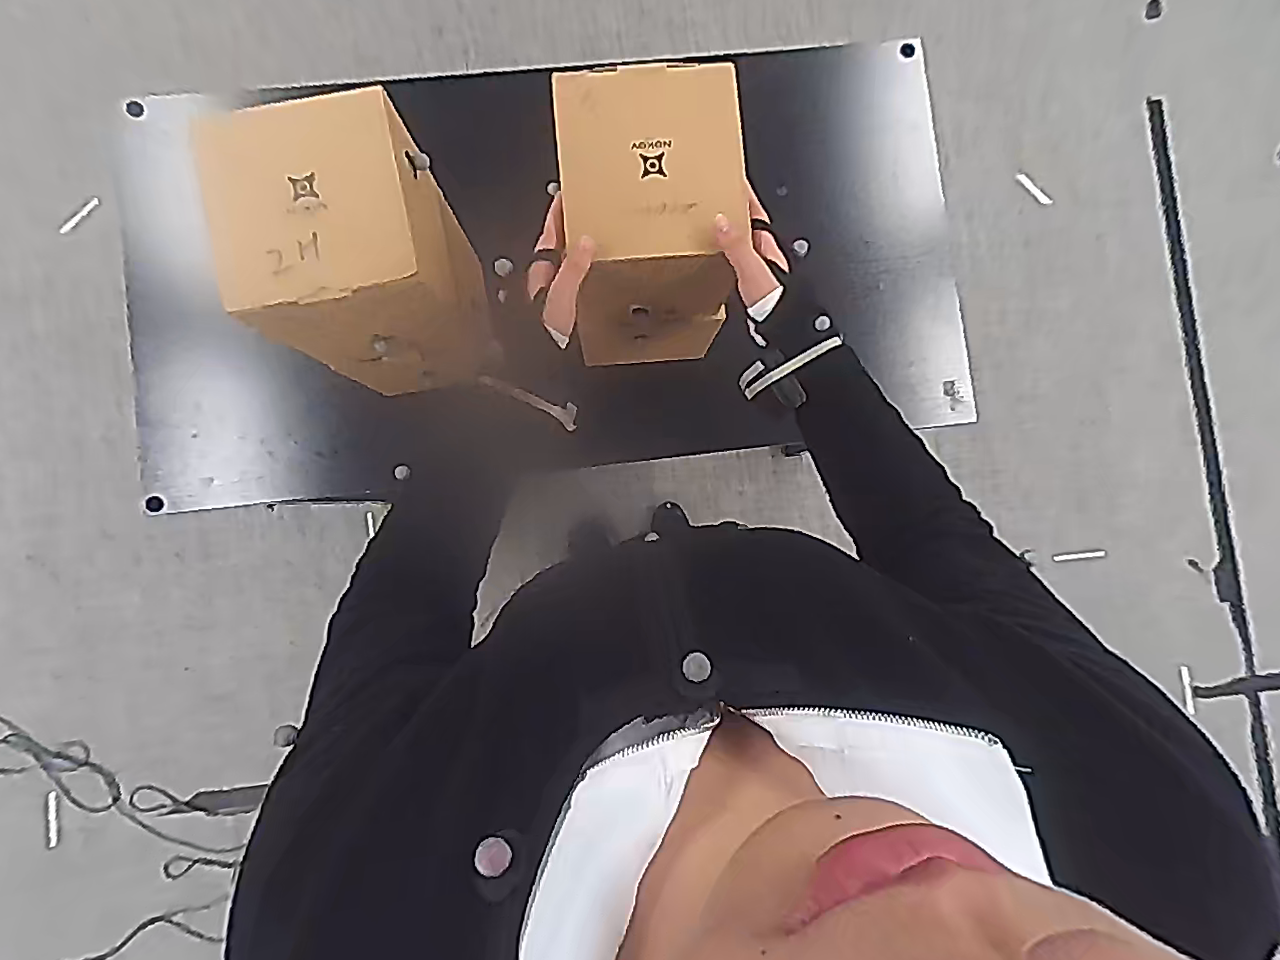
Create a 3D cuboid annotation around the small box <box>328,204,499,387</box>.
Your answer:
[{"bbox_3d":[-0.294,-0.227,0.709,0.168,0.176,0.179,-11,88,-2],"label":"small box"}]

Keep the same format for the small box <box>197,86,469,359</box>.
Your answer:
[{"bbox_3d":[-0.287,-0.241,0.544,0.168,0.176,0.179,-12,88,-2],"label":"small box"}]

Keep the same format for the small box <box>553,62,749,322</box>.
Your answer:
[{"bbox_3d":[0.005,-0.281,0.559,0.168,0.176,0.179,-5,88,-2],"label":"small box"}]

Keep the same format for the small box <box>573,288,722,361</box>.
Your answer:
[{"bbox_3d":[0.002,-0.263,0.722,0.179,0.176,0.168,-5,87,-3],"label":"small box"}]
